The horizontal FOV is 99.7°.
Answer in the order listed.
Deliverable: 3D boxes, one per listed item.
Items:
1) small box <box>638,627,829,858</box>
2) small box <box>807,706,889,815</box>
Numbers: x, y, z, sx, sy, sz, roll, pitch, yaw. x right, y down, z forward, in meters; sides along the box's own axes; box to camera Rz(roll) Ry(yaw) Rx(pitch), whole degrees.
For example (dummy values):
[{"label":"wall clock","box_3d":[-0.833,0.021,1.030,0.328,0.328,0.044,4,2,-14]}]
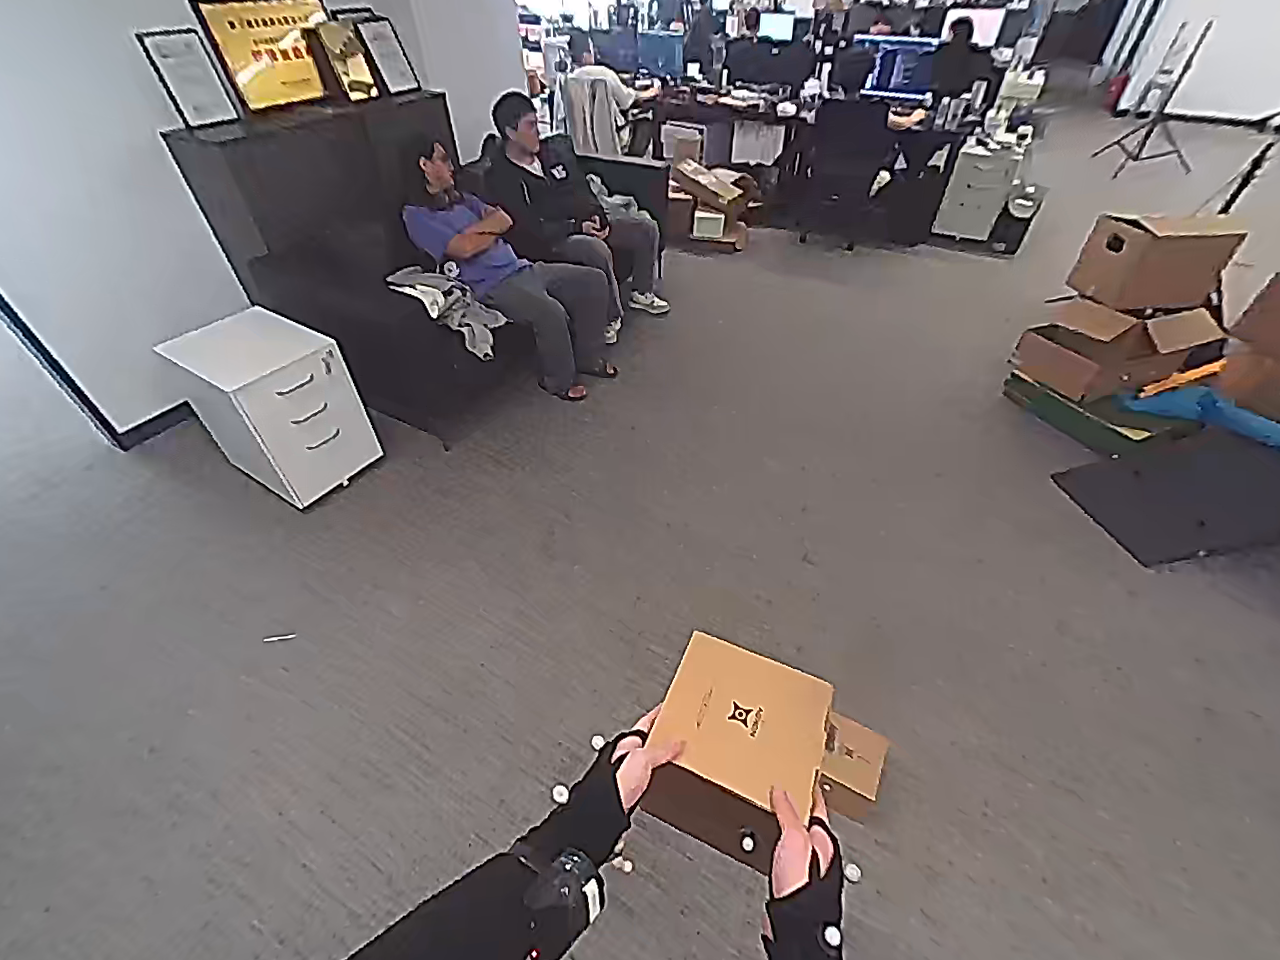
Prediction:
[{"label":"small box","box_3d":[0.109,0.319,0.656,0.179,0.176,0.168,17,41,19]},{"label":"small box","box_3d":[0.512,0.728,1.401,0.179,0.176,0.168,24,51,25]}]
